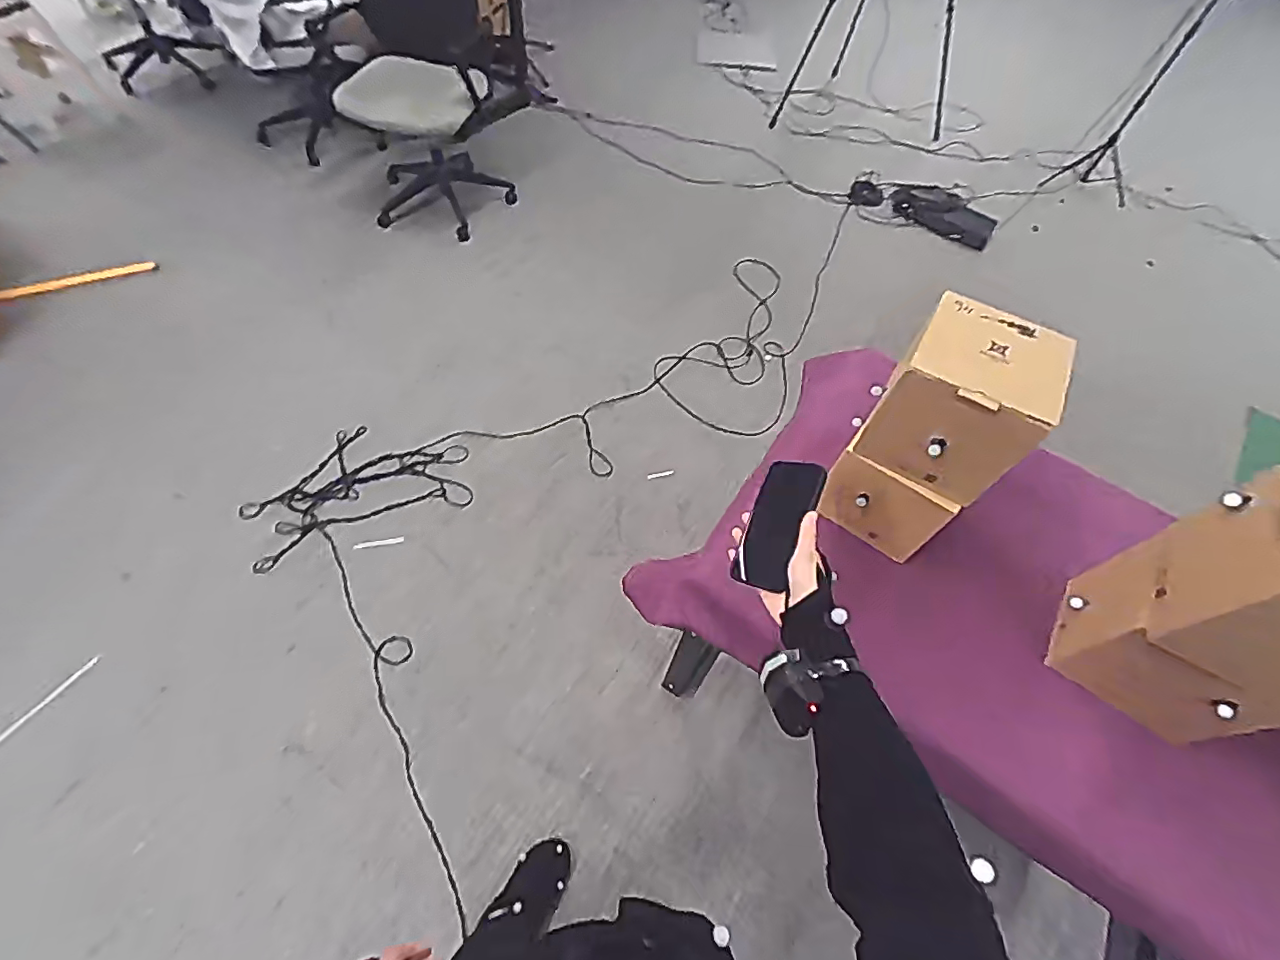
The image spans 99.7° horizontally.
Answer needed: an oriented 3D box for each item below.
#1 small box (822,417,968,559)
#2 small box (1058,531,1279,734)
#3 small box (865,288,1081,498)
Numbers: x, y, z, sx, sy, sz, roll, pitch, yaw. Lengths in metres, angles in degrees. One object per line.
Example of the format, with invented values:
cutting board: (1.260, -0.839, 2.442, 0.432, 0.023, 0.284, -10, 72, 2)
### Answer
small box: (0.404, -0.010, 0.834, 0.168, 0.176, 0.179, 33, 60, 18)
small box: (0.704, 0.204, 0.703, 0.179, 0.176, 0.168, 33, 60, 18)
small box: (0.417, -0.108, 0.703, 0.168, 0.176, 0.179, 29, 60, 15)
